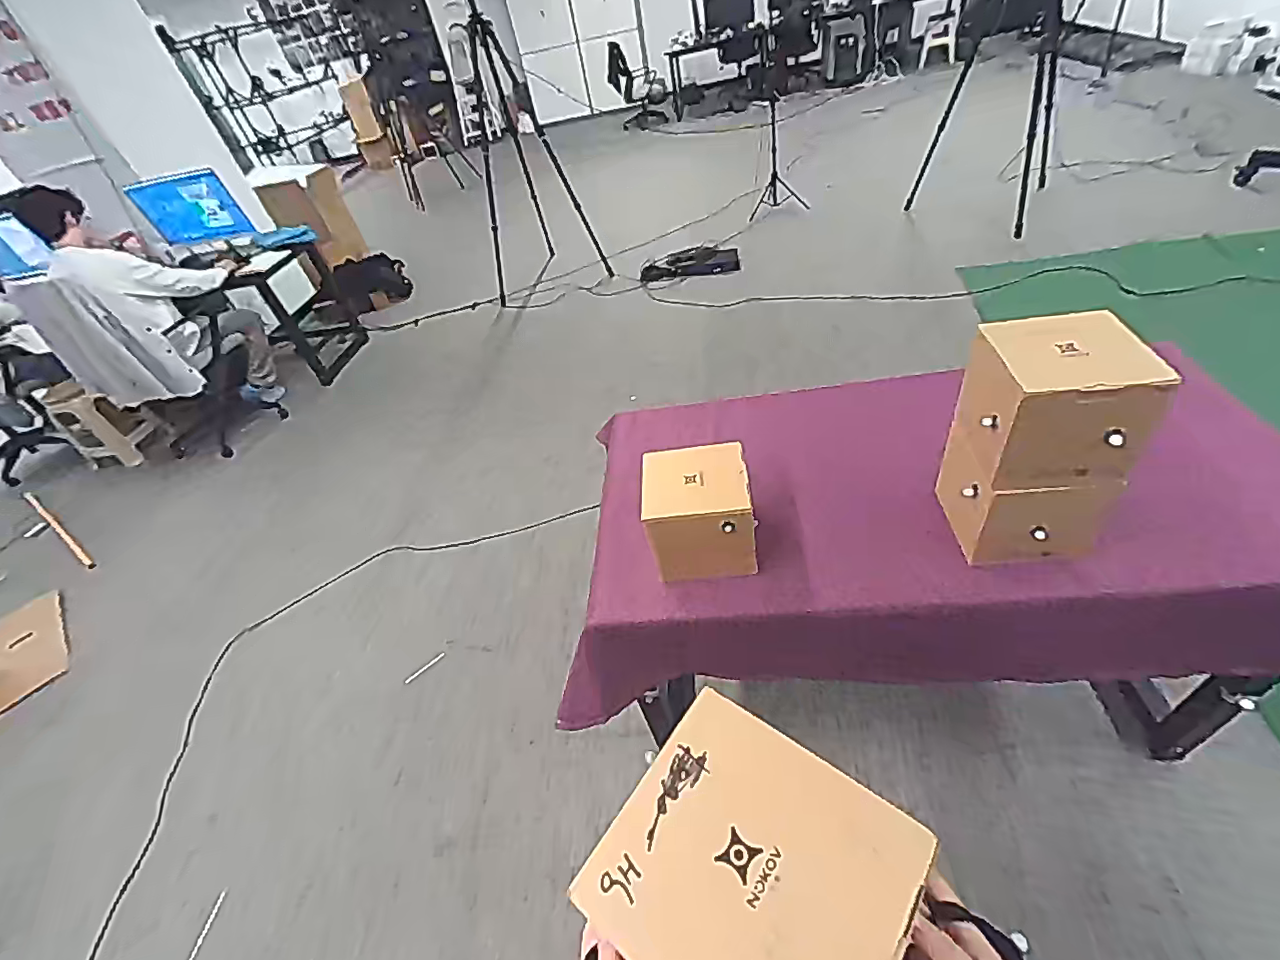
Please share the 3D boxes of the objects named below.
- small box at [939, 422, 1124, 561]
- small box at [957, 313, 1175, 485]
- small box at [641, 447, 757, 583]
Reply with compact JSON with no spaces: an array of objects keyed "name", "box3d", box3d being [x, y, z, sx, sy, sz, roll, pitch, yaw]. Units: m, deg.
[{"name":"small box","box3d":[0.596,0.016,0.853,0.168,0.176,0.179,-5,42,11]},{"name":"small box","box3d":[0.563,-0.105,0.748,0.168,0.176,0.179,-4,42,13]},{"name":"small box","box3d":[0.105,0.066,0.951,0.179,0.176,0.168,-7,42,8]}]
